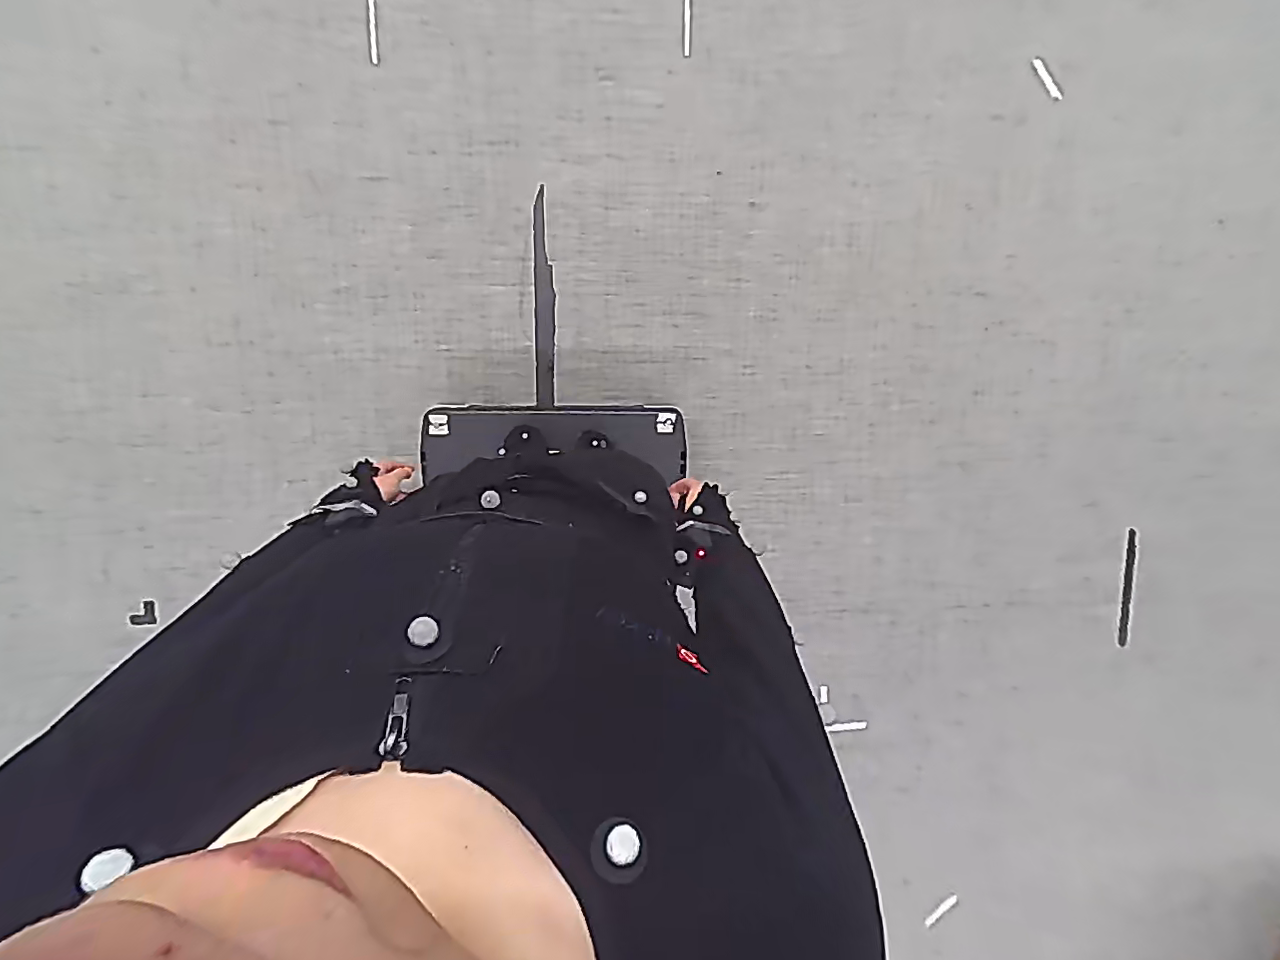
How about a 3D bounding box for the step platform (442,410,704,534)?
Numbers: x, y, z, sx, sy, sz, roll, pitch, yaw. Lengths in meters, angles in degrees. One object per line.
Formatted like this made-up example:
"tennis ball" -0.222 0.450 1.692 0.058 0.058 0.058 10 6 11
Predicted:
"step platform" -0.170 -0.022 1.452 0.684 0.204 0.286 4 96 -5
